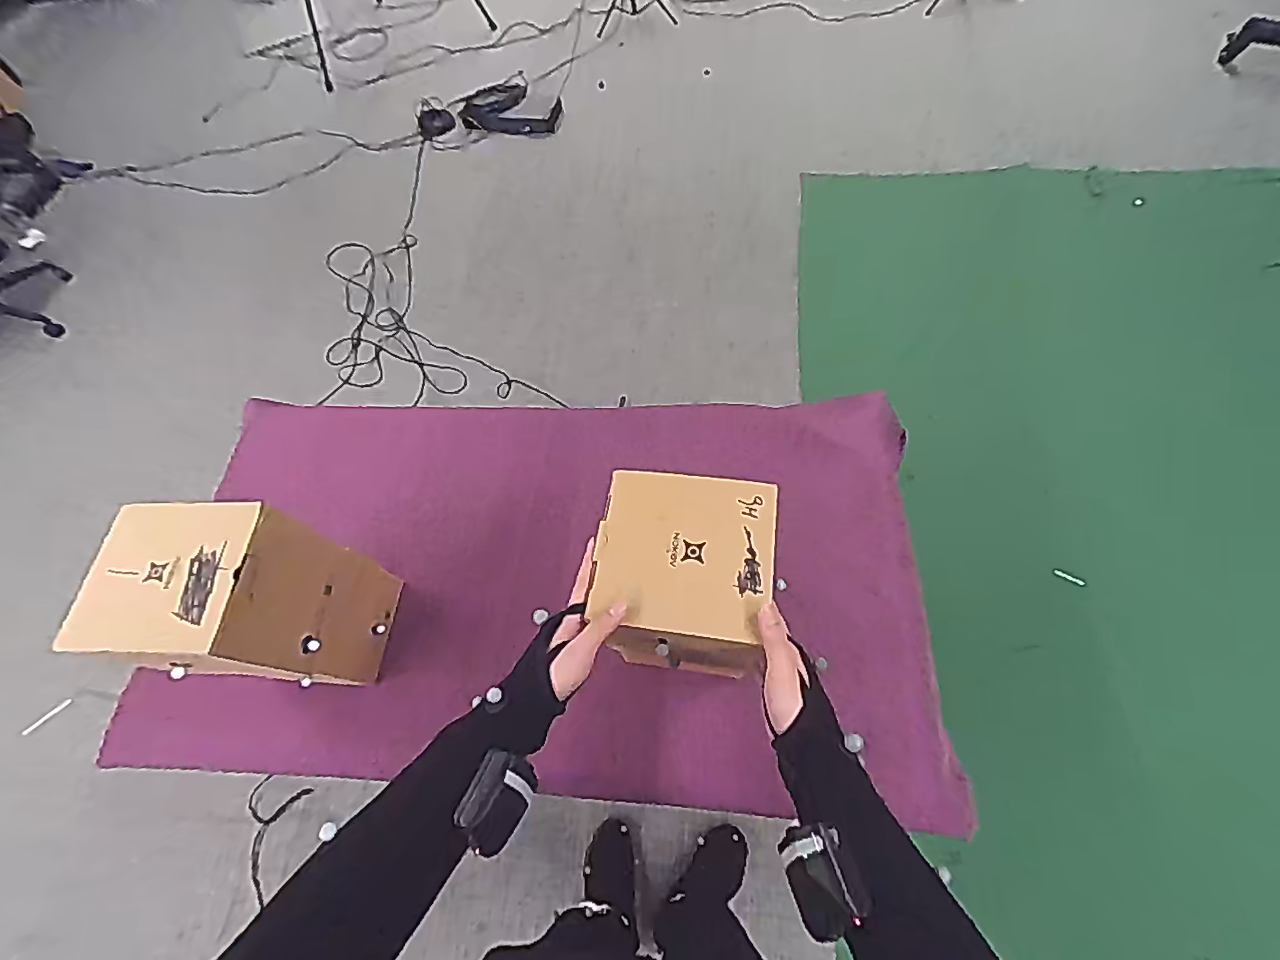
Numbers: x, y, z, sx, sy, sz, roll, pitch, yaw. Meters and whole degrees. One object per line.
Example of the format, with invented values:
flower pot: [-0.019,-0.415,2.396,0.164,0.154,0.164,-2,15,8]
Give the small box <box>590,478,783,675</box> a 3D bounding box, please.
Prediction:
small box: [0.058,0.113,0.605,0.179,0.176,0.168,6,64,9]

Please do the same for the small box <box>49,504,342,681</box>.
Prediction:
small box: [-0.491,0.137,0.634,0.179,0.176,0.168,0,63,5]

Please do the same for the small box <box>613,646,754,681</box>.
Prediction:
small box: [0.071,0.179,0.755,0.179,0.176,0.168,6,64,9]
